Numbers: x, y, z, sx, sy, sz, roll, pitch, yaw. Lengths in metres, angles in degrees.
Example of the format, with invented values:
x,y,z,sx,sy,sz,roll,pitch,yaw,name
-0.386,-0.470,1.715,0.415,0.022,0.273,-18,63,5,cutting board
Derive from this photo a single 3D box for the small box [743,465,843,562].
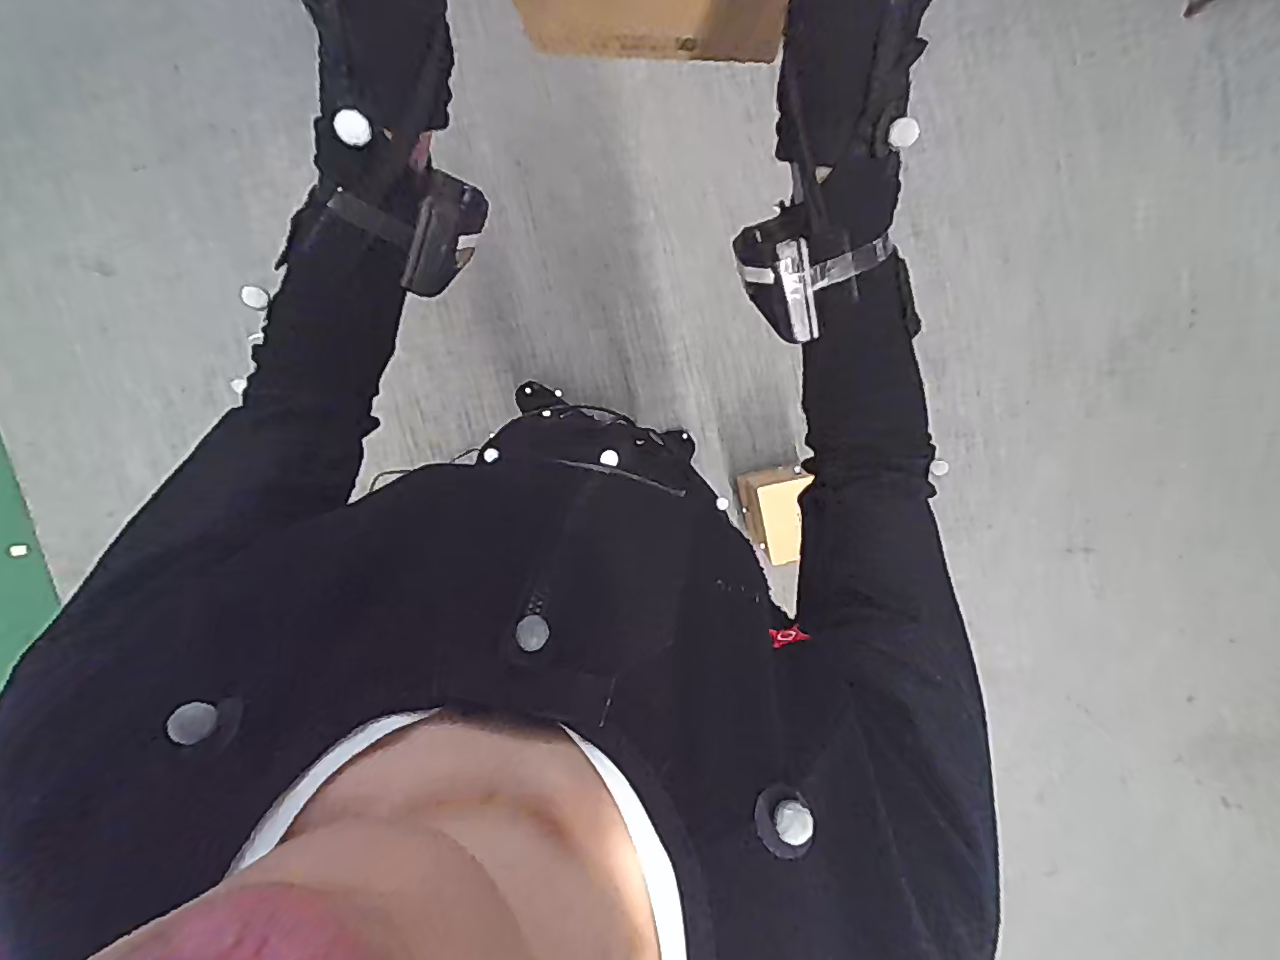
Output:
x,y,z,sx,sy,sz,roll,pitch,yaw,name
0.336,0.067,1.216,0.168,0.176,0.179,-13,97,5,small box
